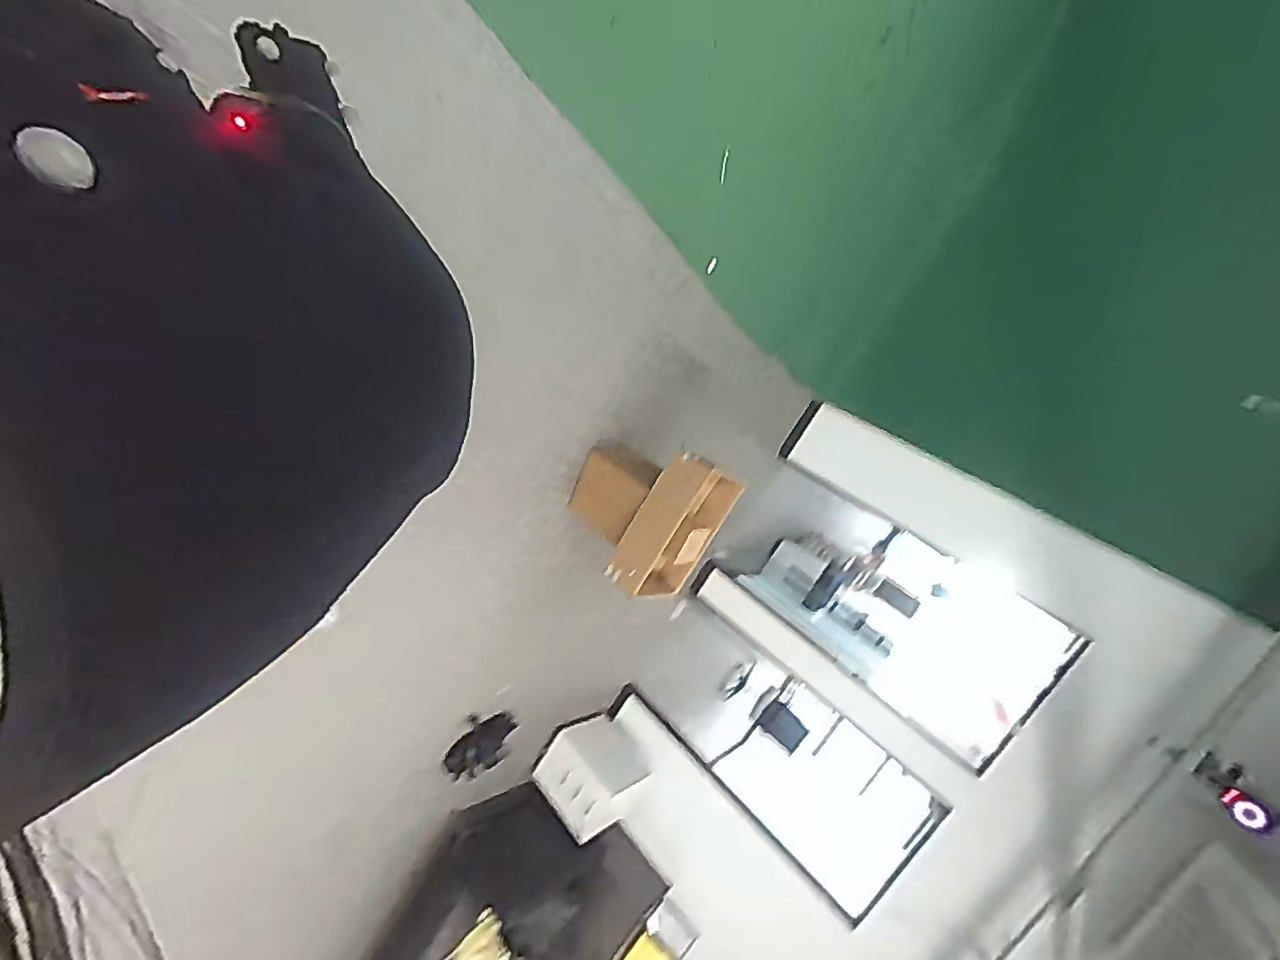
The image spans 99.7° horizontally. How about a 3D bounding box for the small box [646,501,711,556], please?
[{"bbox_3d":[0.161,0.201,2.268,0.179,0.176,0.168,6,115,-55],"label":"small box"}]
